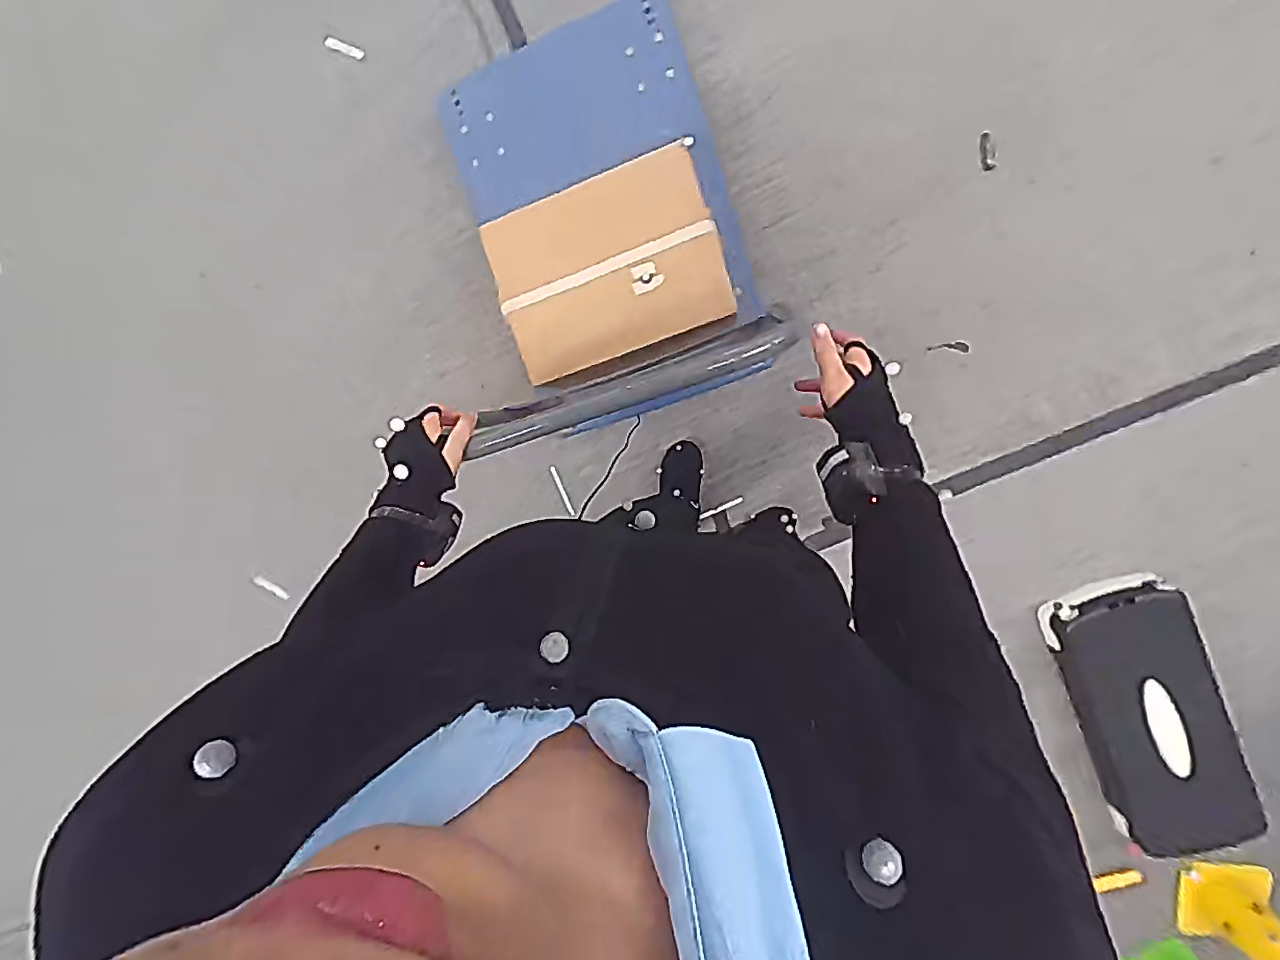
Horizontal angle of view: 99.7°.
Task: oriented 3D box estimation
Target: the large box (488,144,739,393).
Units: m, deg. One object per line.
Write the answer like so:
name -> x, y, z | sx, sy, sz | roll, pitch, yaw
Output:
large box -> -0.035, -0.399, 1.134 | 0.408, 0.320, 0.320 | -18, 94, 10
